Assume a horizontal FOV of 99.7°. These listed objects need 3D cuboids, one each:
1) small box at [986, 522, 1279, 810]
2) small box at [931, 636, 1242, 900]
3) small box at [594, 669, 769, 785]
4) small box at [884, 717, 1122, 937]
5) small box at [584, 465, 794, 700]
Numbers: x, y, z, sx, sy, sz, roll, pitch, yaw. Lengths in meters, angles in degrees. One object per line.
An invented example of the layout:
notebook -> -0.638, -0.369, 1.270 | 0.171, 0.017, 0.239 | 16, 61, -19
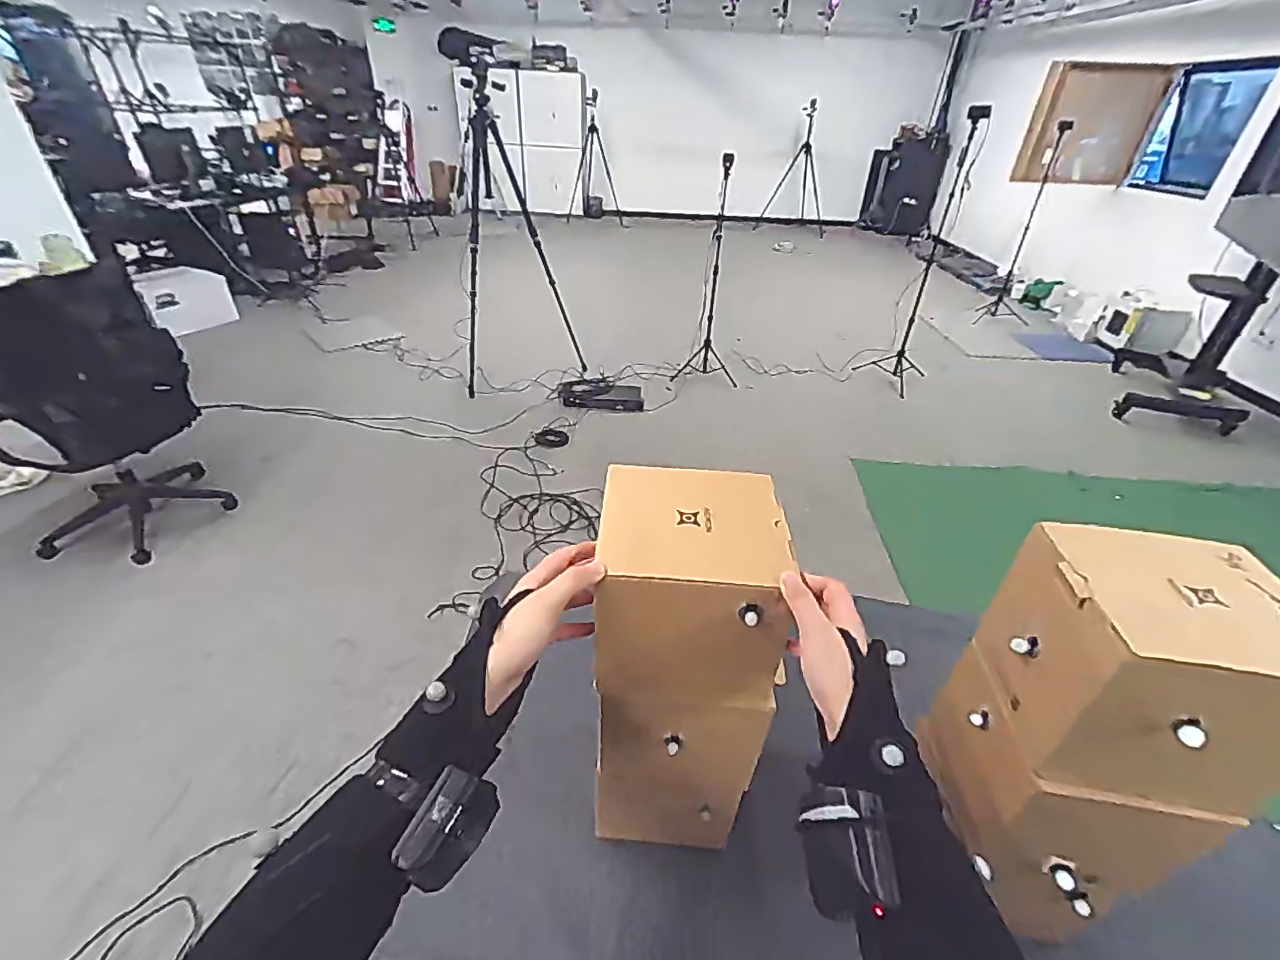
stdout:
small box -> 0.442, 0.161, 0.484 | 0.179, 0.176, 0.168 | 7, 34, 9
small box -> 0.435, 0.298, 0.574 | 0.168, 0.176, 0.179 | 6, 35, 8
small box -> 0.043, 0.236, 0.641 | 0.179, 0.176, 0.168 | 4, 35, 2
small box -> 0.431, 0.428, 0.670 | 0.179, 0.176, 0.168 | 7, 34, 6
small box -> 0.040, 0.102, 0.549 | 0.179, 0.176, 0.168 | 4, 35, 0
